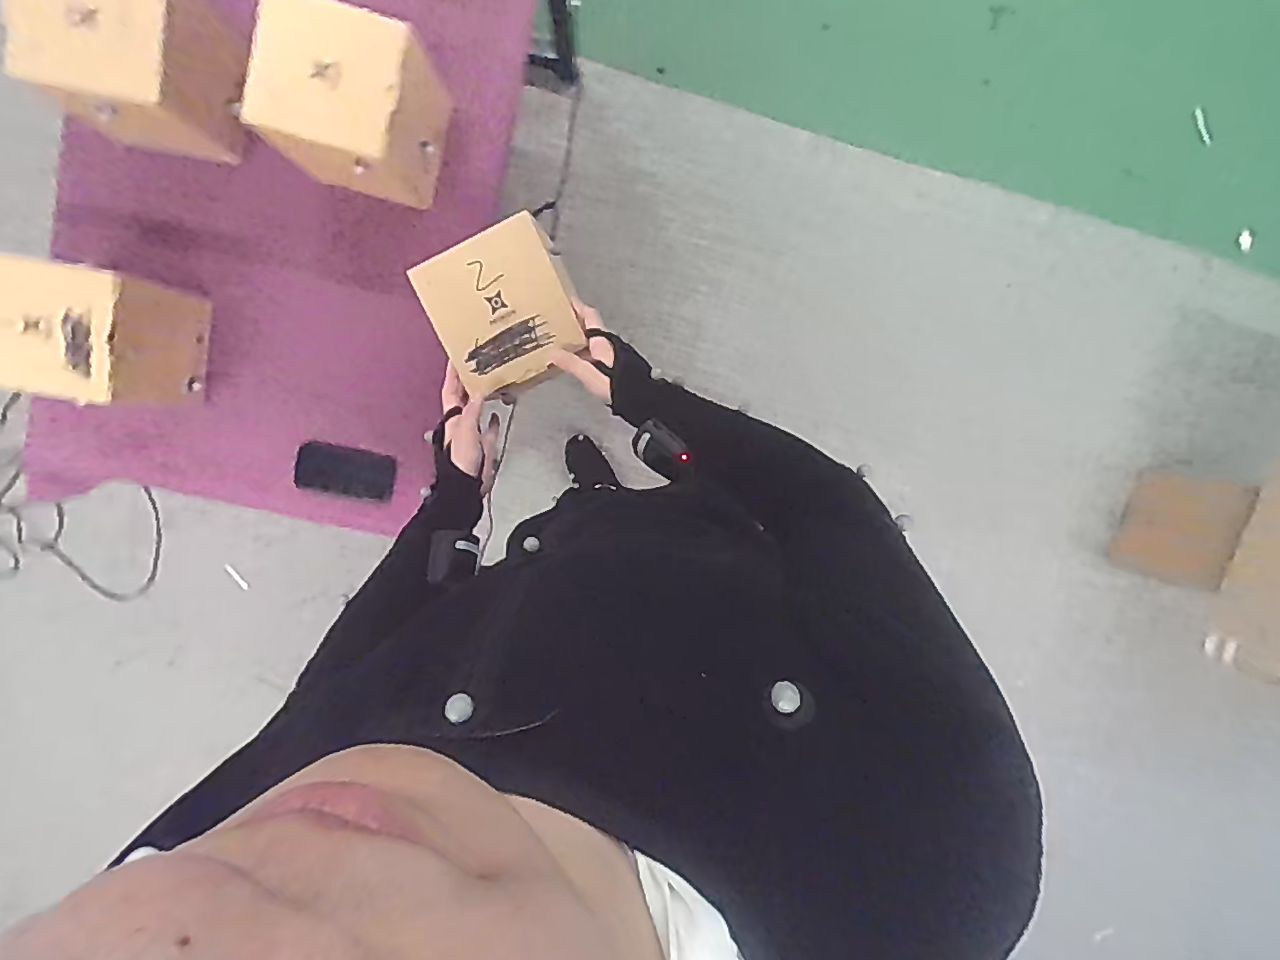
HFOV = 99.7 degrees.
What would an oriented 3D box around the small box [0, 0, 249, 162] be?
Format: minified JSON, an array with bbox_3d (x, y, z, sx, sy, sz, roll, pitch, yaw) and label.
[{"bbox_3d":[-0.664,-0.553,0.715,0.179,0.176,0.168,9,97,-5],"label":"small box"}]

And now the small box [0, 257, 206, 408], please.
[{"bbox_3d":[-0.750,-0.194,0.749,0.179,0.176,0.168,8,95,-4],"label":"small box"}]

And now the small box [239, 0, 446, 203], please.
[{"bbox_3d":[-0.390,-0.507,0.737,0.179,0.176,0.168,13,95,-4],"label":"small box"}]
